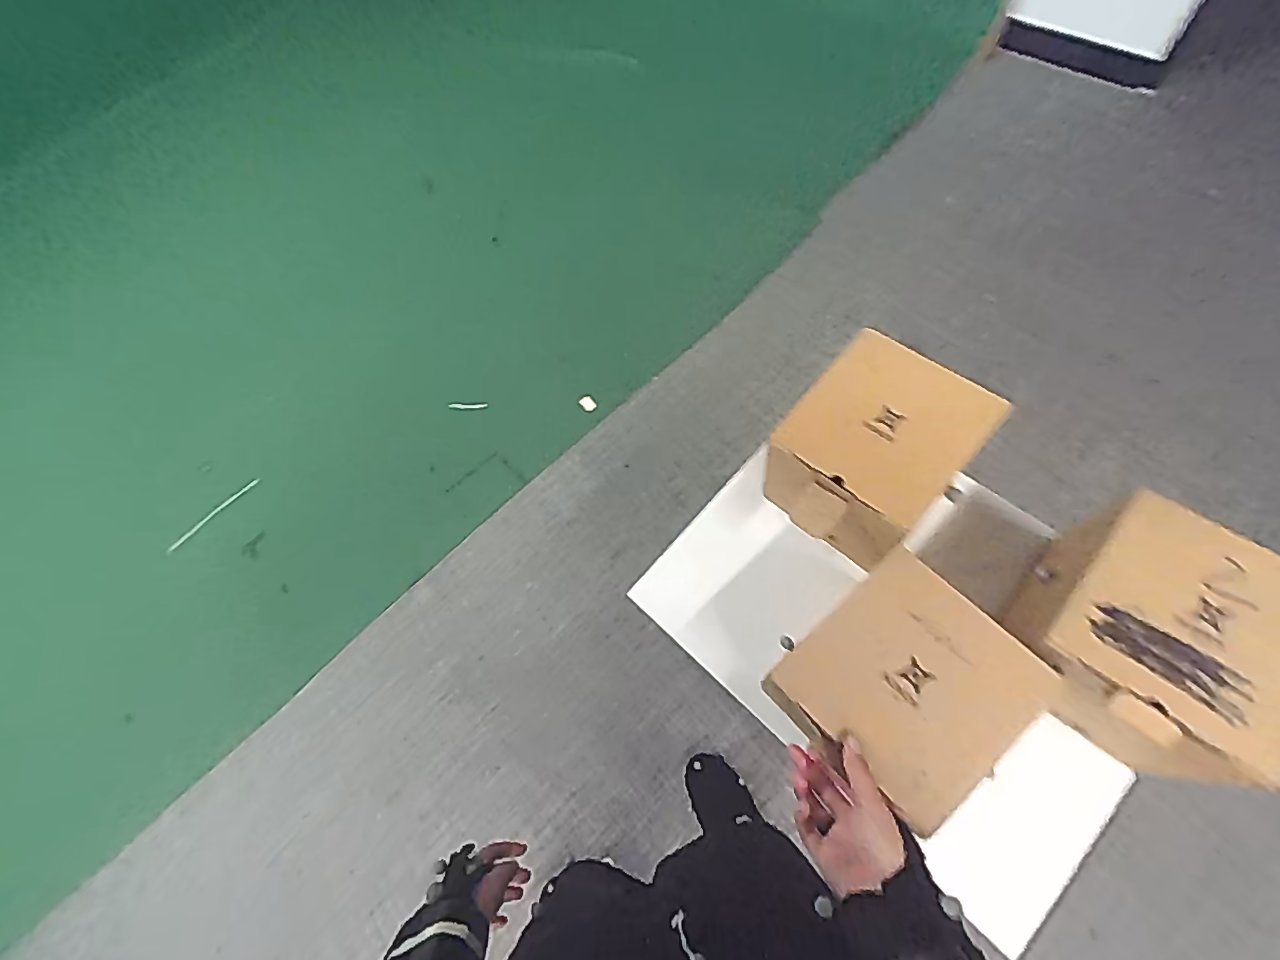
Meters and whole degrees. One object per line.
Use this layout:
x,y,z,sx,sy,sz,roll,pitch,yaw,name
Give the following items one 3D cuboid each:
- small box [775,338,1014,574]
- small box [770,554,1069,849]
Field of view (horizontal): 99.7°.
0.268,-0.019,0.620,0.168,0.176,0.179,39,80,23,small box
0.244,0.207,0.524,0.179,0.176,0.168,-40,66,-9,small box
